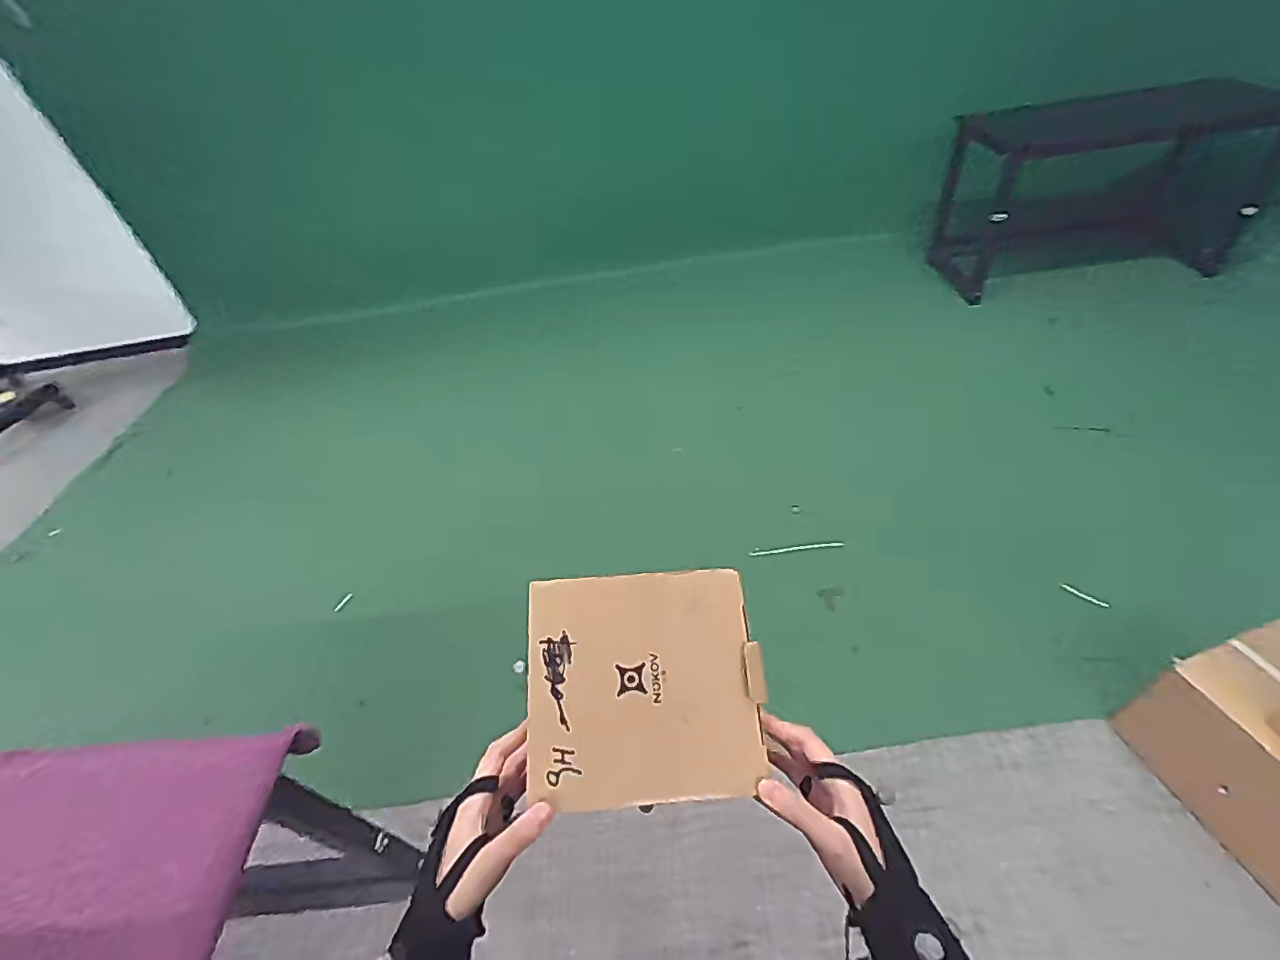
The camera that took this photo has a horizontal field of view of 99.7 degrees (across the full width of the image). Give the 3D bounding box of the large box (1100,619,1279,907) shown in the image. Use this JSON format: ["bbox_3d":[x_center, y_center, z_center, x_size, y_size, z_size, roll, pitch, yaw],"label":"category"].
[{"bbox_3d":[1.329,0.582,1.133,0.320,0.320,0.408,-17,43,-9],"label":"large box"}]

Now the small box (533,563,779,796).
[{"bbox_3d":[0.005,0.176,0.481,0.179,0.176,0.168,-1,64,-4],"label":"small box"}]
